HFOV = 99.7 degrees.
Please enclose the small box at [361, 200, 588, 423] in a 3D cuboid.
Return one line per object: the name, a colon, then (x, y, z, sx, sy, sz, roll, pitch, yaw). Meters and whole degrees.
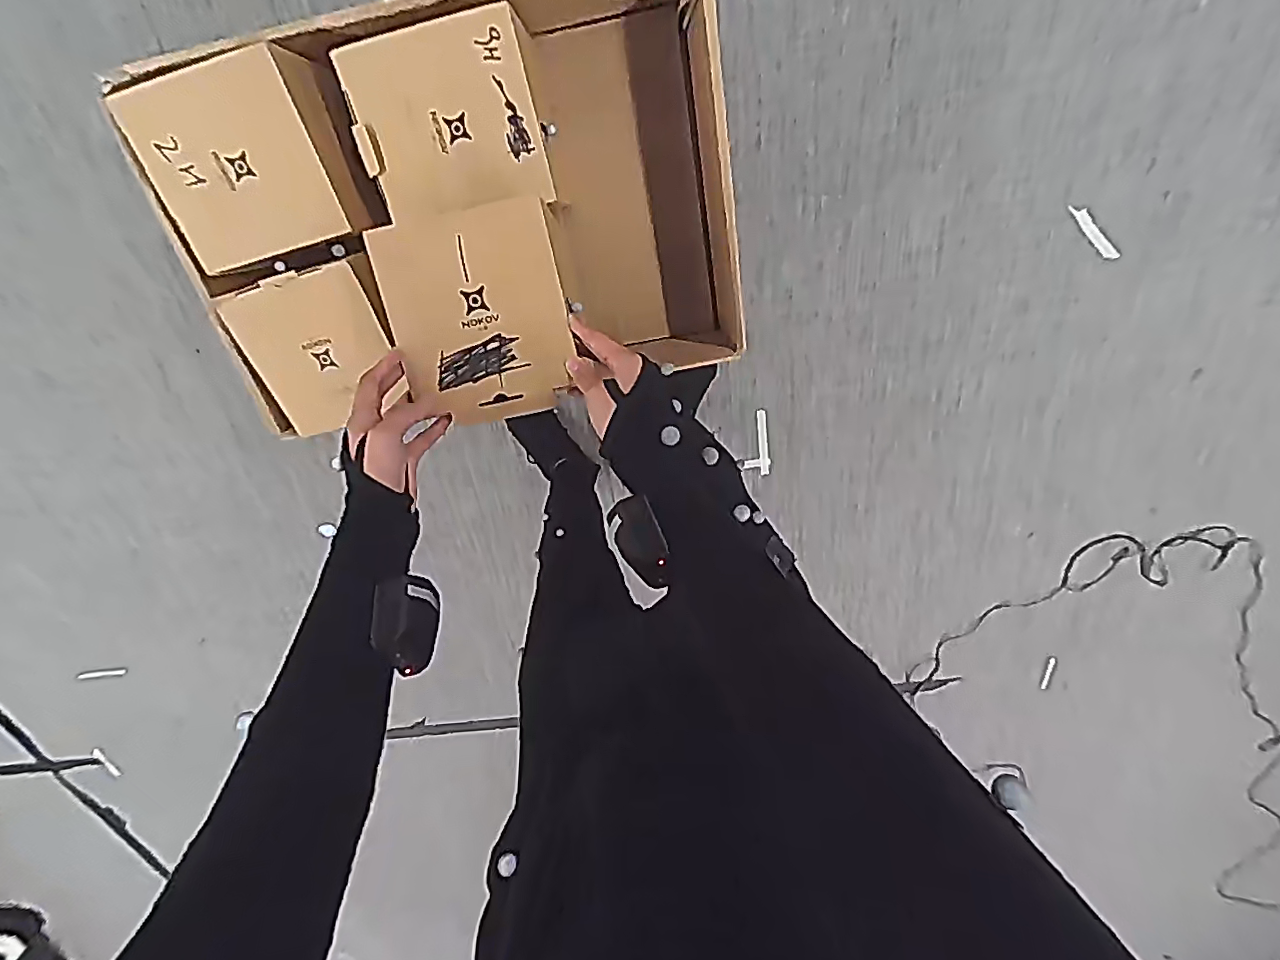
small box: (-0.156, -0.172, 0.581, 0.168, 0.176, 0.179, -12, 103, 2)
